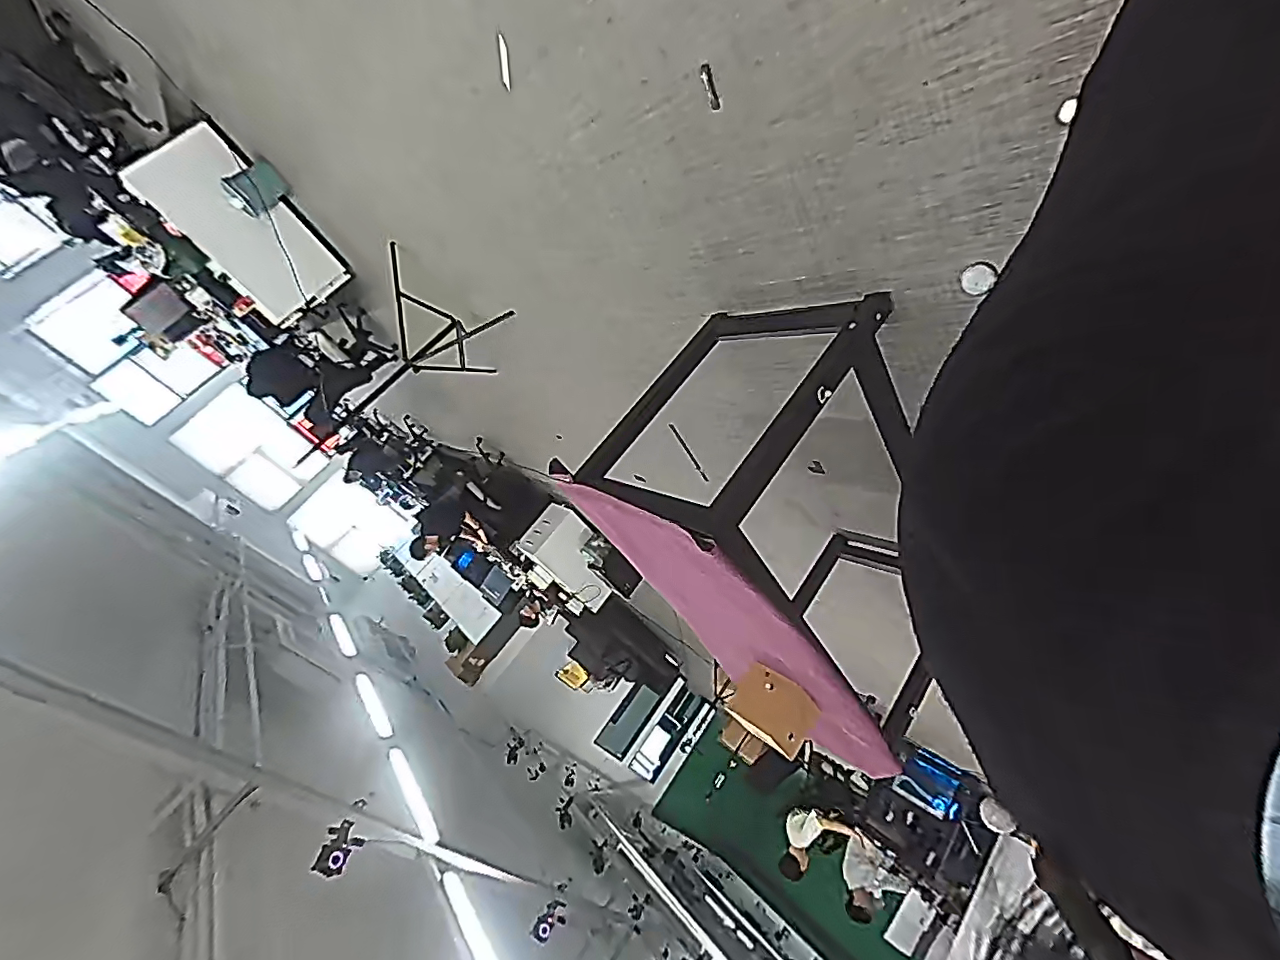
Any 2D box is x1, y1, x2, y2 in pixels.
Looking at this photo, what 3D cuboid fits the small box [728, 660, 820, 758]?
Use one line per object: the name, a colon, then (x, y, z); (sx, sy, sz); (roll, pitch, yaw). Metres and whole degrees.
small box: (0.397, 0.664, 1.580); (0.168, 0.176, 0.179); (15, 149, 51)
